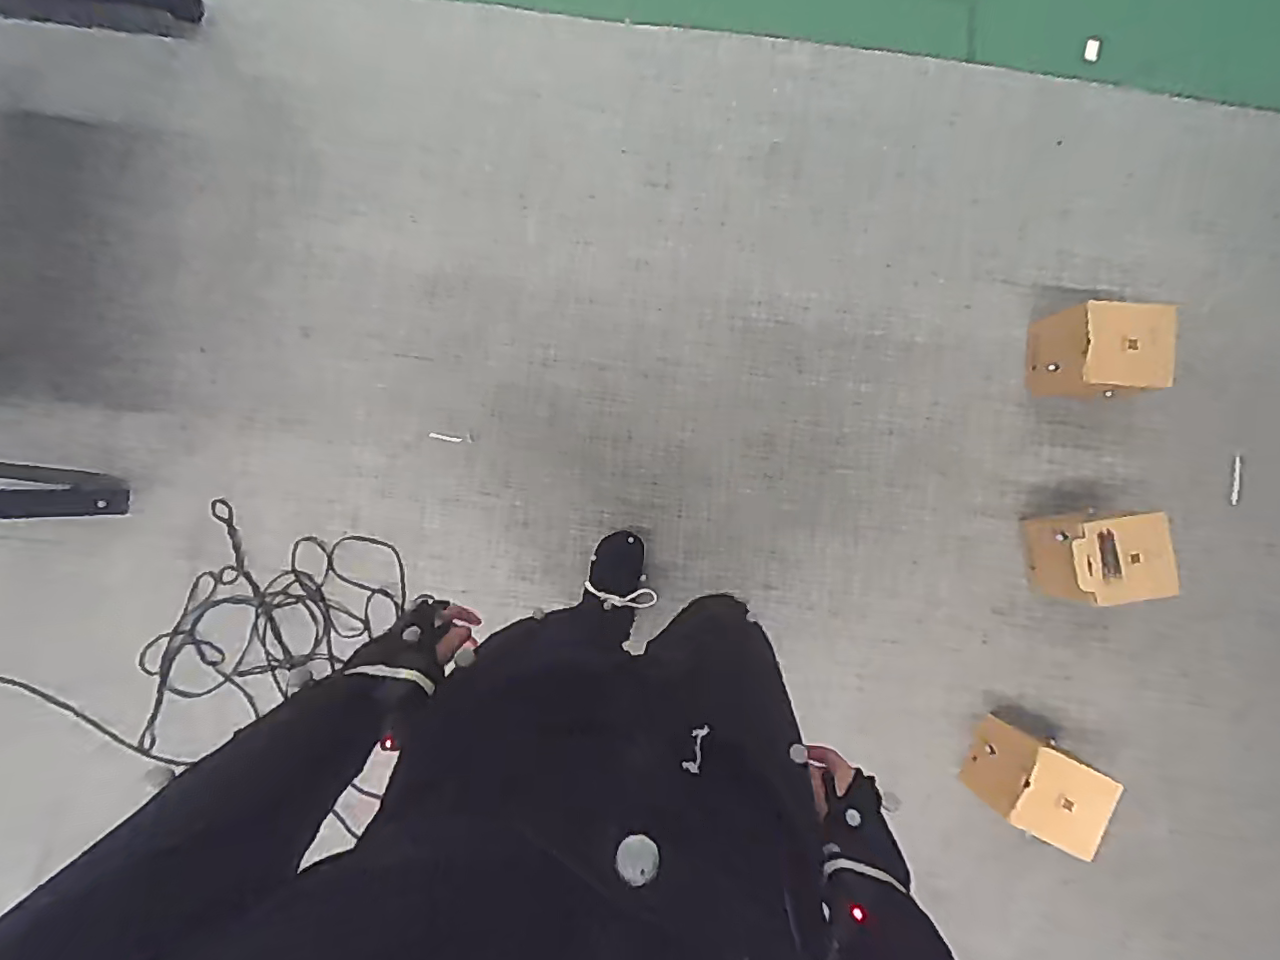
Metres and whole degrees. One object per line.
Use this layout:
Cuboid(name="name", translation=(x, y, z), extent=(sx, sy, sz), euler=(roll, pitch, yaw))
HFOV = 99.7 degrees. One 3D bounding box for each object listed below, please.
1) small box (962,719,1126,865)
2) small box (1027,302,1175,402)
Cuboid(name="small box", translation=(0.813, 0.623, 1.106), extent=(0.179, 0.176, 0.168), euler=(26, 88, 1))
Cuboid(name="small box", translation=(0.958, -0.261, 1.138), extent=(0.179, 0.176, 0.168), euler=(4, 89, -1))
